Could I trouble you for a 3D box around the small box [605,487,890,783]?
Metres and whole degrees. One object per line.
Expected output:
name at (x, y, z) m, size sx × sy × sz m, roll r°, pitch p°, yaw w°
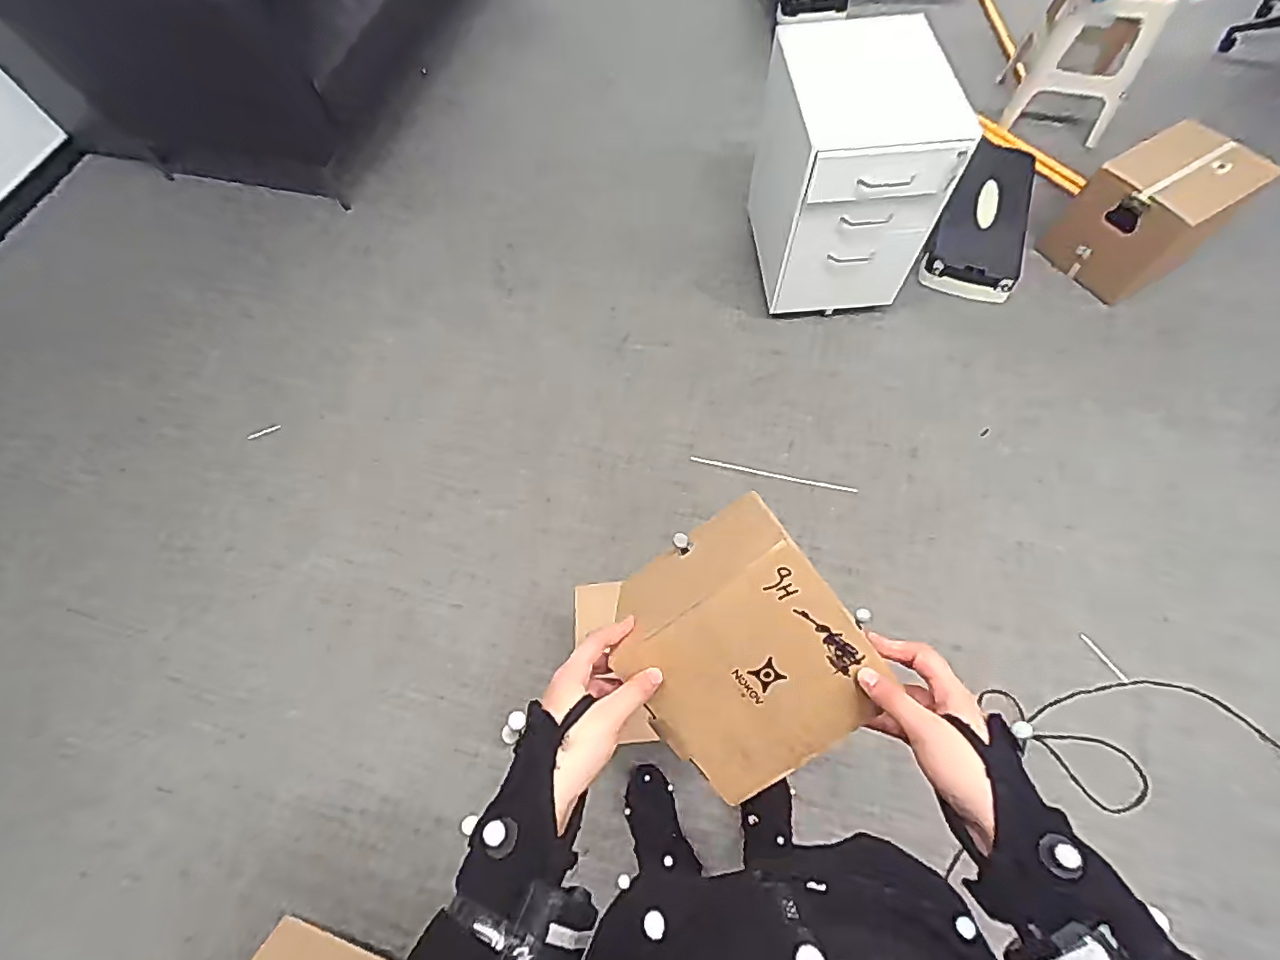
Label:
small box at (0.091, 0.131, 0.515) m, size 0.179 × 0.176 × 0.168 m, roll -37°, pitch 98°, yaw 9°
